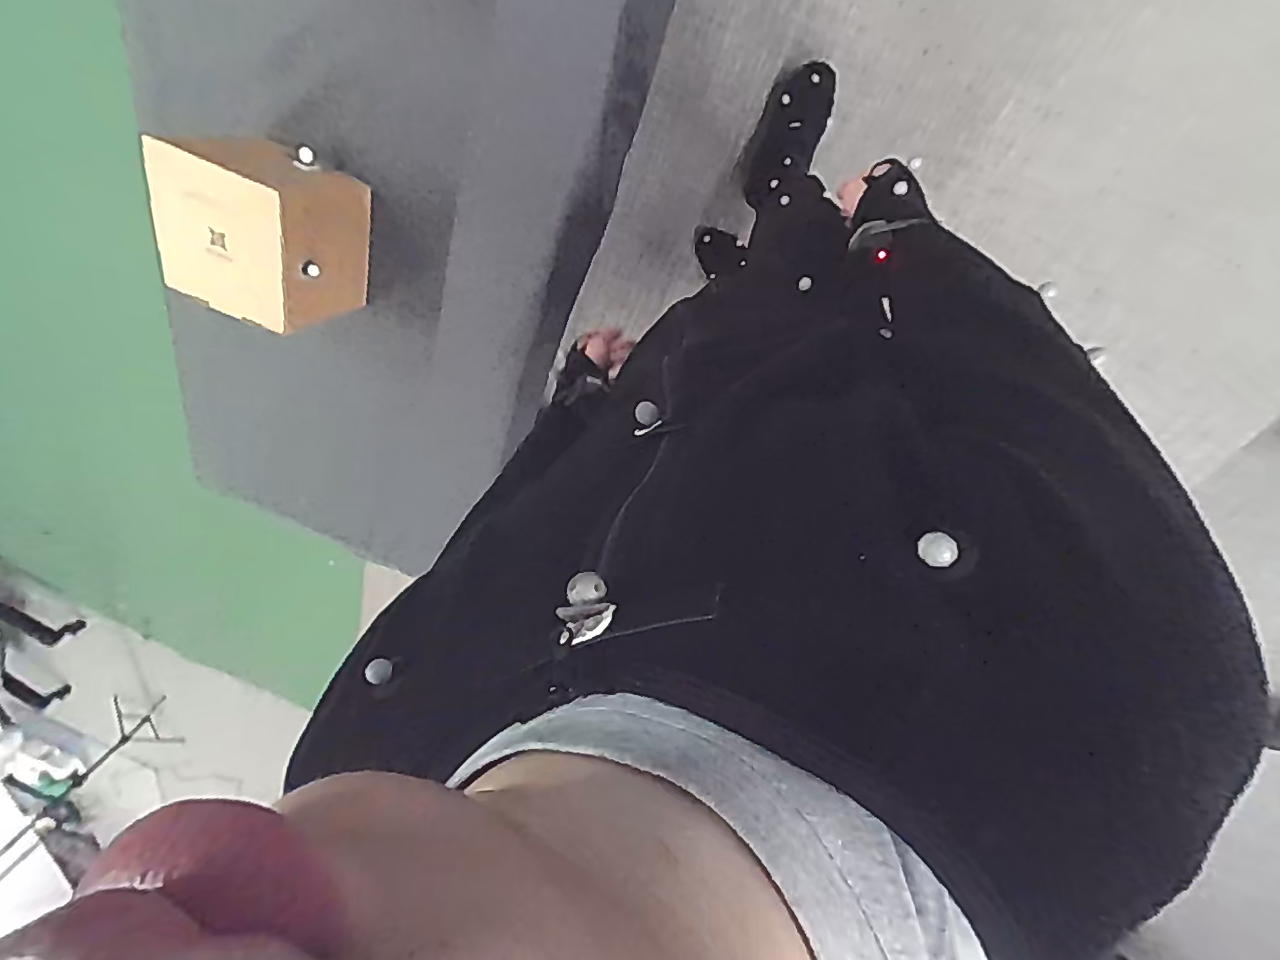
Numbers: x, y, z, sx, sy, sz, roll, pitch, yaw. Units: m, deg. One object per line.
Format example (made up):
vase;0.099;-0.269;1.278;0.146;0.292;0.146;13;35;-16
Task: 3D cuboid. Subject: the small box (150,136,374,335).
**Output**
small box;-0.474;-0.321;0.707;0.168;0.176;0.179;22;123;0
